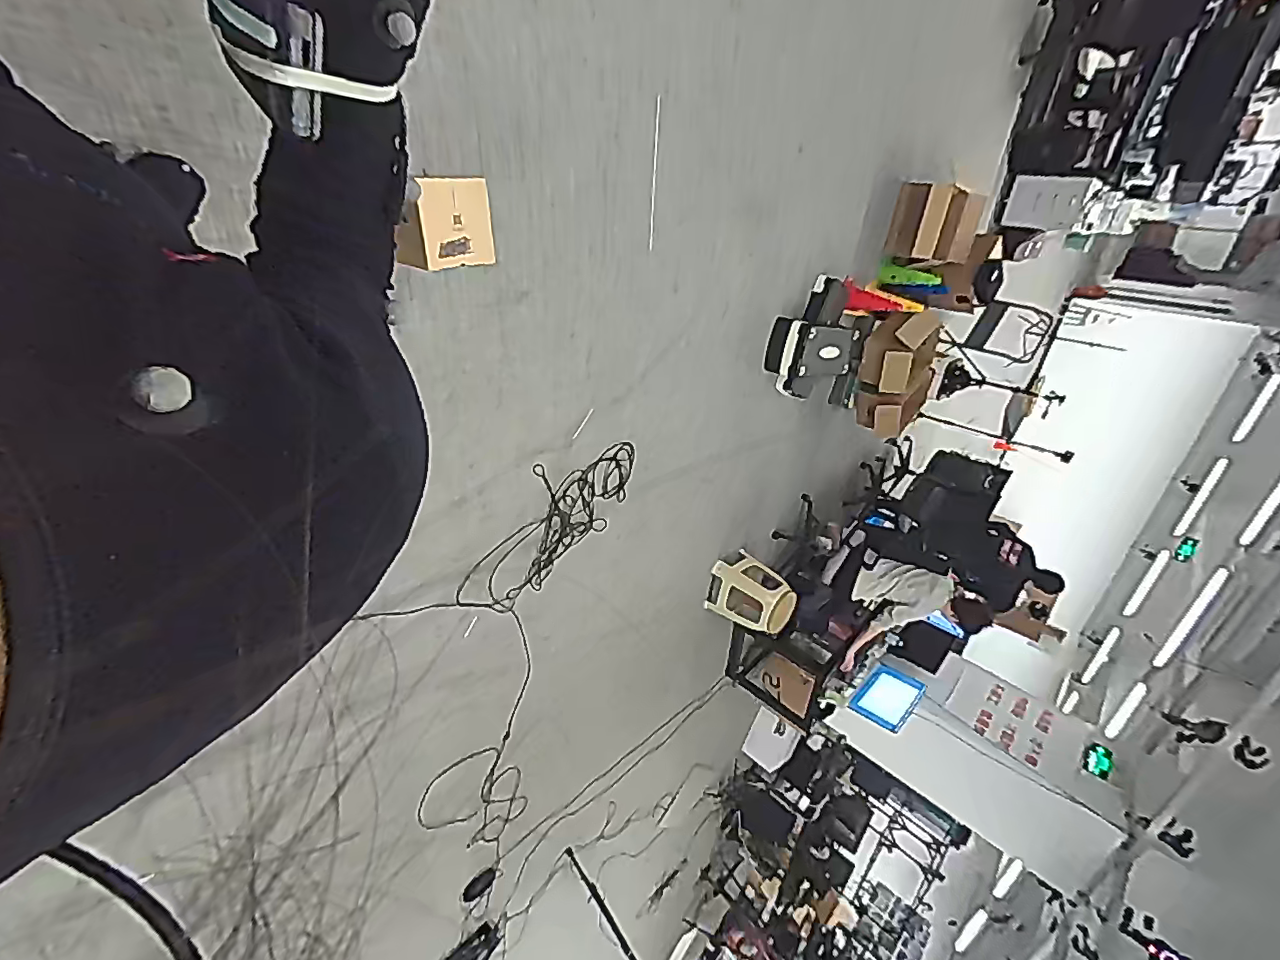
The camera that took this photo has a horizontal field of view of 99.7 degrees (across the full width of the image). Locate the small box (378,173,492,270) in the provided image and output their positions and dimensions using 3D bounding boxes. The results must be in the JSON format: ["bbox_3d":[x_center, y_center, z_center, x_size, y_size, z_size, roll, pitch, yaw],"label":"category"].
[{"bbox_3d":[-0.450,-0.573,1.191,0.168,0.176,0.179,-26,129,-39],"label":"small box"}]
